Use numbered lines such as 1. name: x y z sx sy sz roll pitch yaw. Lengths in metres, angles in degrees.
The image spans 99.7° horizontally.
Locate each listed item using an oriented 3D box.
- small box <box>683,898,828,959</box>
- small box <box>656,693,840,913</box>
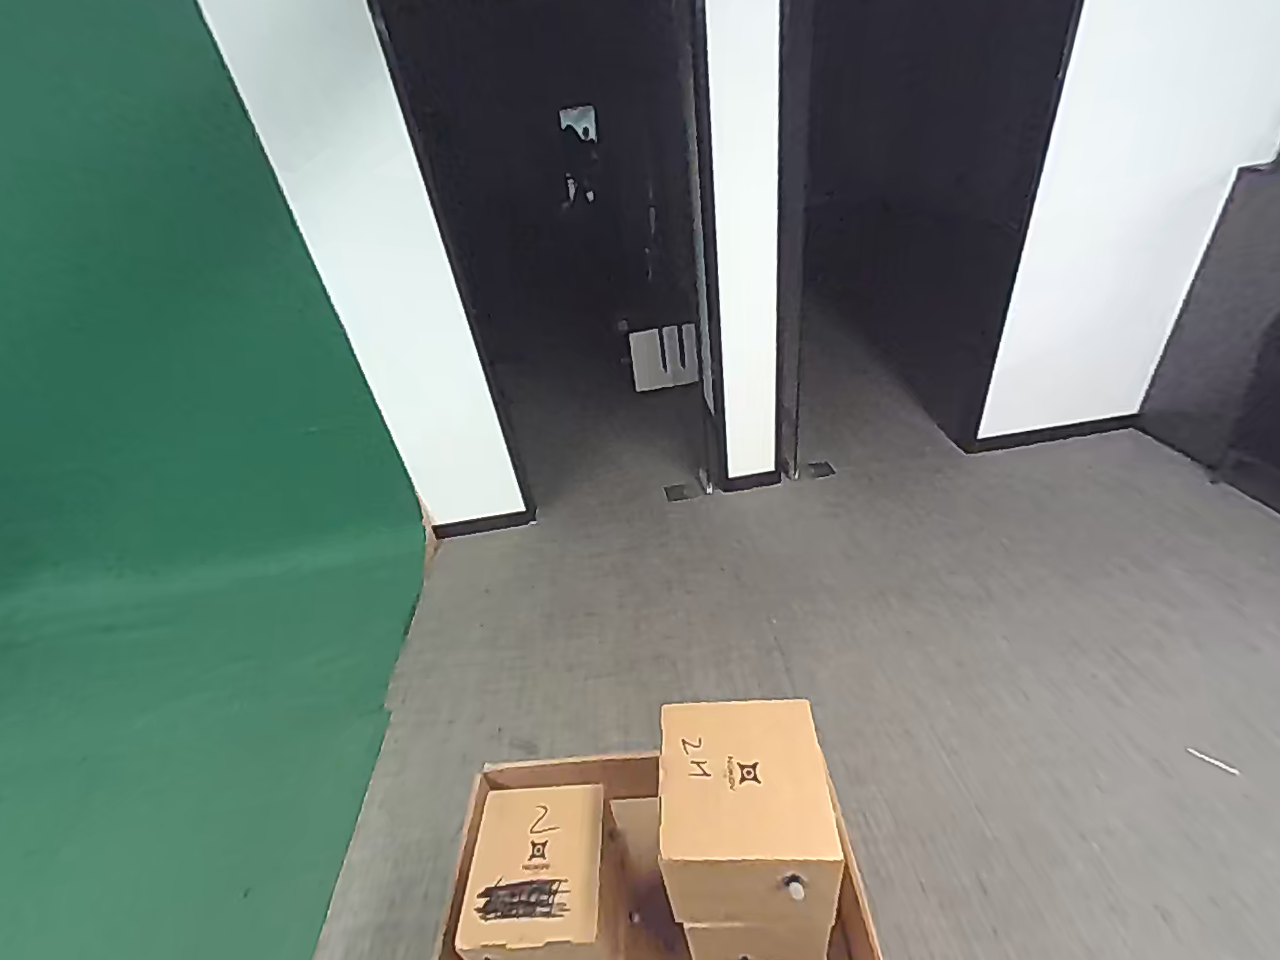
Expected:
1. small box: 0.143 0.499 0.718 0.168 0.176 0.179 -6 35 7
2. small box: 0.118 0.368 0.621 0.179 0.176 0.168 -6 34 9
